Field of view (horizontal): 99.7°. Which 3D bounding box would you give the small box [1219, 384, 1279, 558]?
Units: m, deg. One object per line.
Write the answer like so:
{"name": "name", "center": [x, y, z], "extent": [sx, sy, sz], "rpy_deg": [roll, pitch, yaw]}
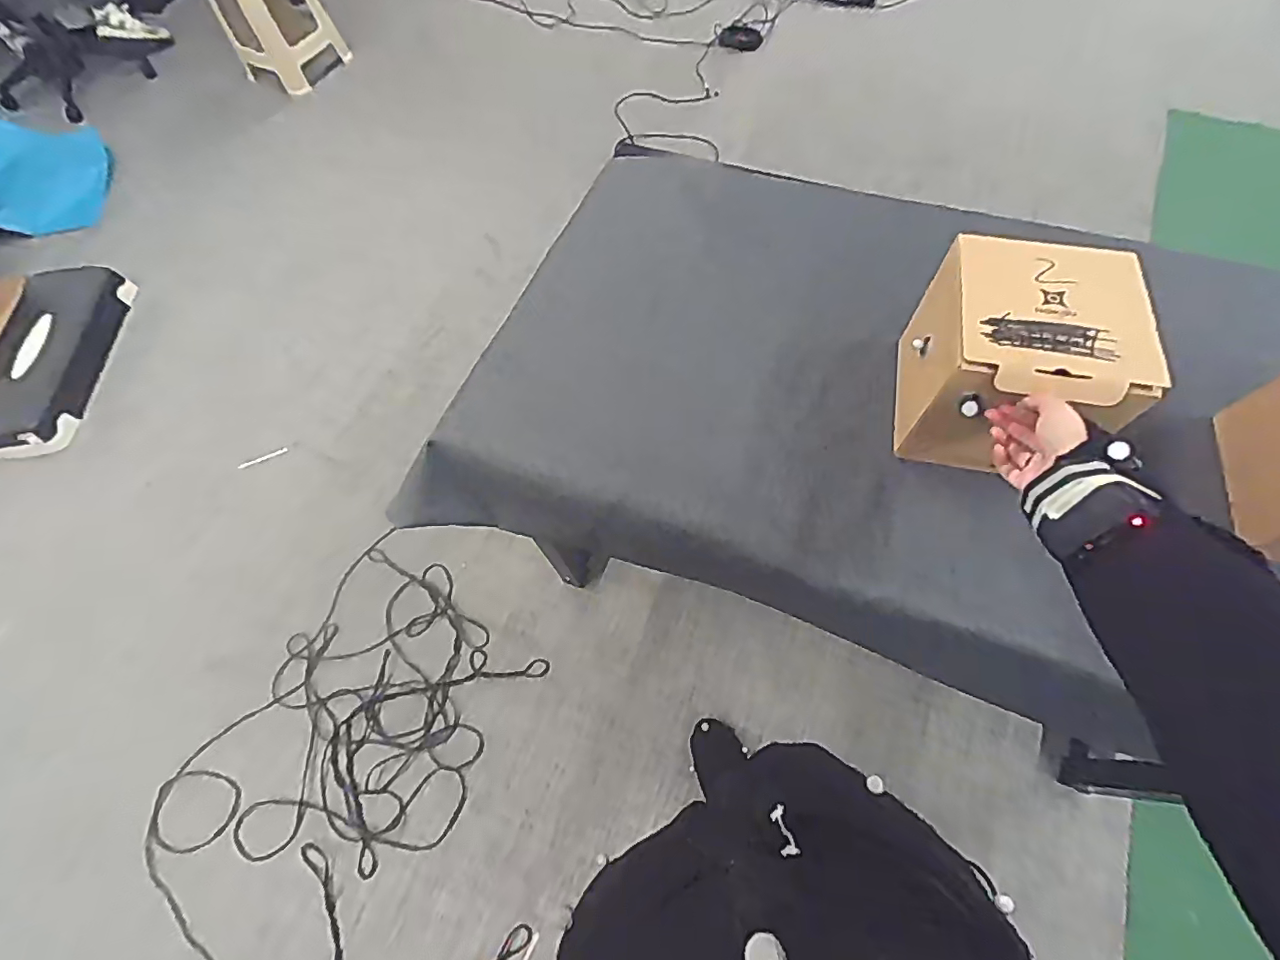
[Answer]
{"name": "small box", "center": [0.710, -0.011, 0.499], "extent": [0.168, 0.176, 0.179], "rpy_deg": [13, 64, 9]}
